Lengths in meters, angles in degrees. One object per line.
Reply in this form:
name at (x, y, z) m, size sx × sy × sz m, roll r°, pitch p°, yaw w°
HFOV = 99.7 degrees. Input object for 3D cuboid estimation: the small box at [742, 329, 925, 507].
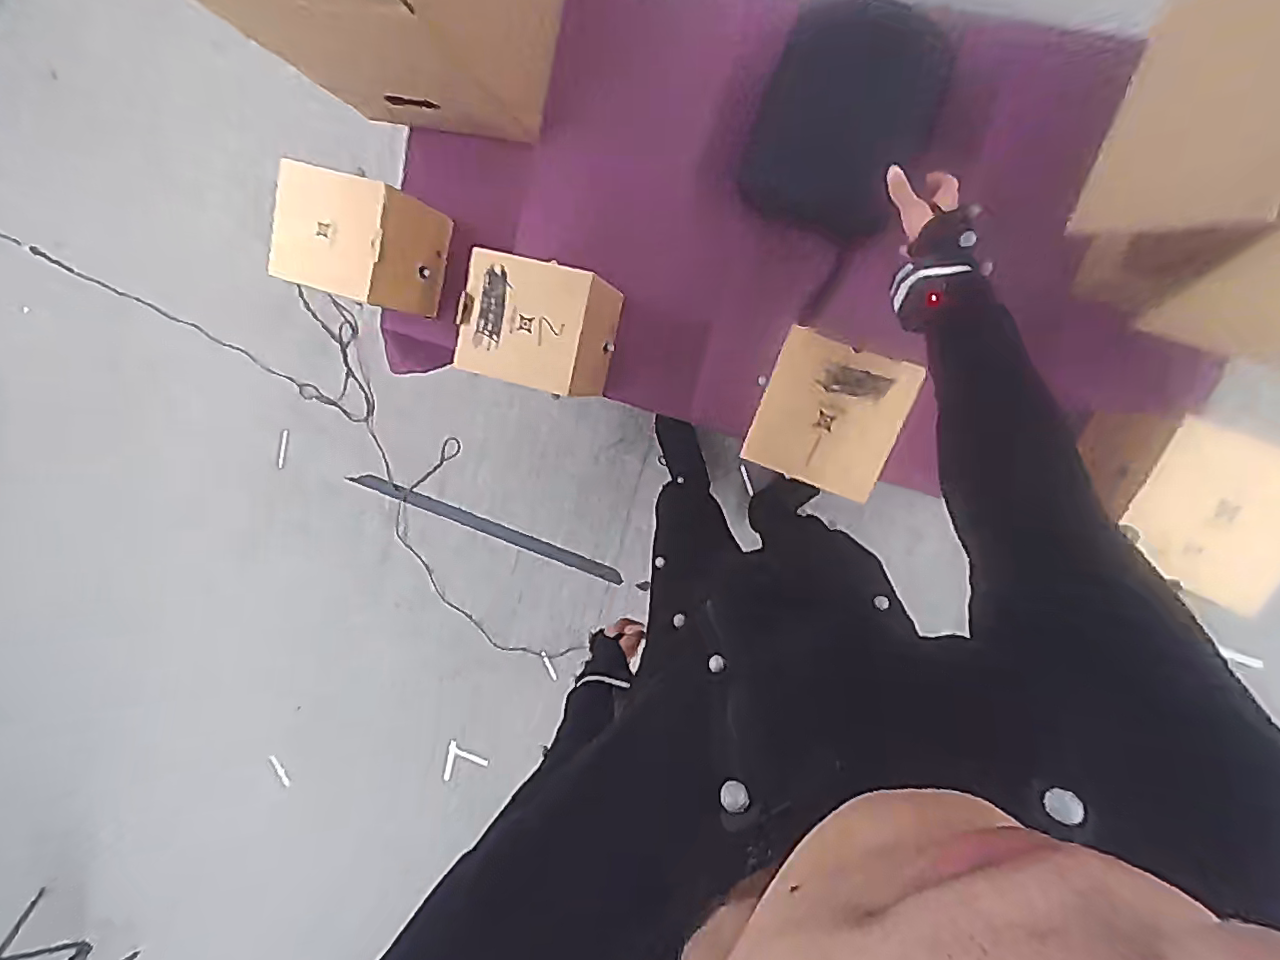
small box at (0.248, -0.086, 0.737) m, size 0.168 × 0.176 × 0.179 m, roll 22°, pitch 103°, yaw 9°

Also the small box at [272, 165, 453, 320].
small box at (-0.427, -0.360, 0.849) m, size 0.179 × 0.176 × 0.168 m, roll 17°, pitch 102°, yaw 9°

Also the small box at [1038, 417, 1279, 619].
small box at (0.640, 0.032, 0.662) m, size 0.168 × 0.176 × 0.179 m, roll 25°, pitch 103°, yaw 9°
